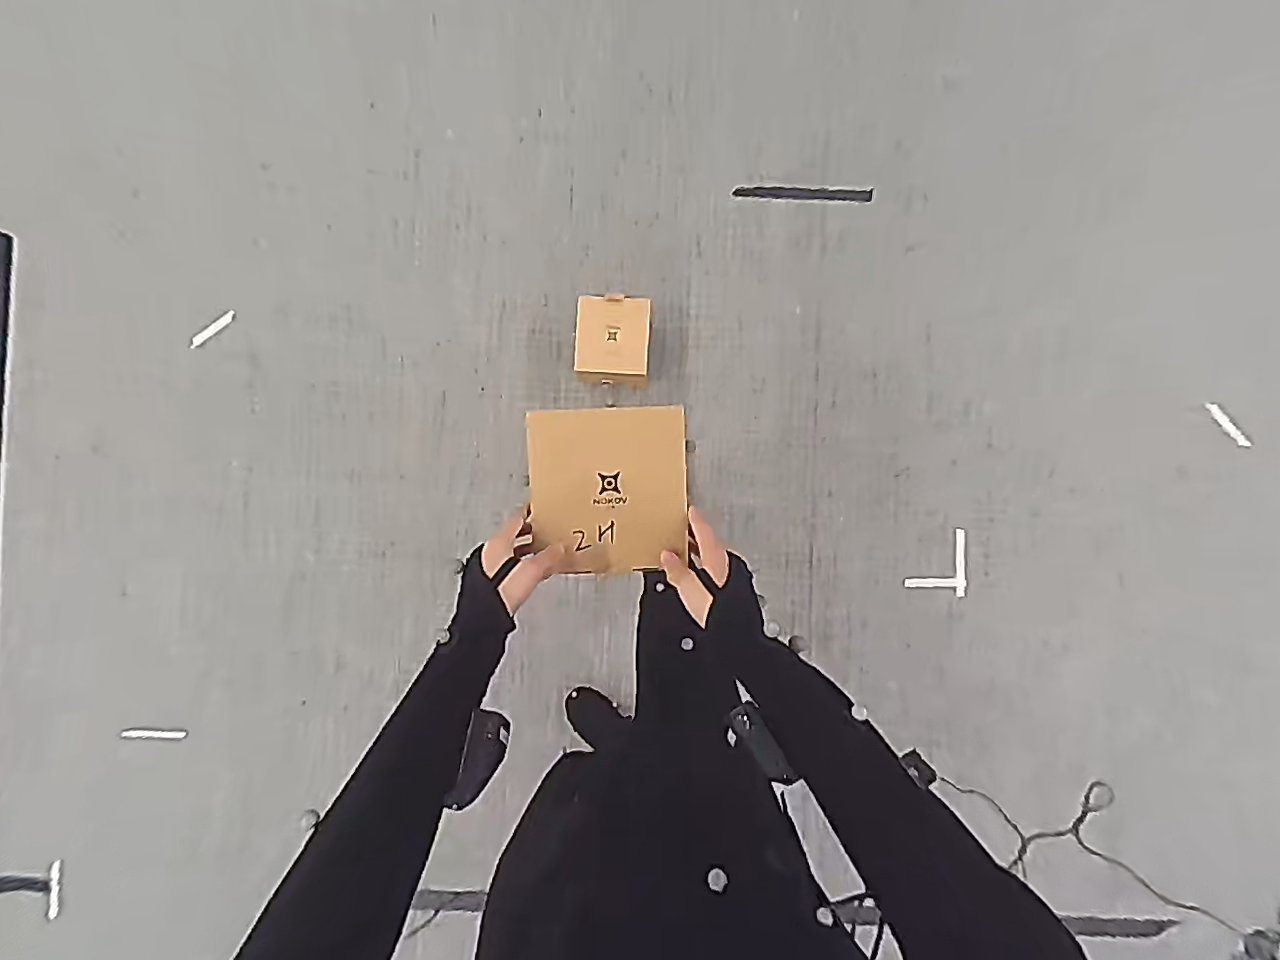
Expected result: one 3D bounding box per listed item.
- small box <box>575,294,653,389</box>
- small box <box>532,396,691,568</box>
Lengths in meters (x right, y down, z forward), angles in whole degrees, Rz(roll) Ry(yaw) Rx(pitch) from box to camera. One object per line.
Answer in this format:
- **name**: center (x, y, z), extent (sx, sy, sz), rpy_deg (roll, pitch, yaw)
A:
- **small box**: center (-0.058, -0.321, 1.276), extent (0.168, 0.176, 0.179), rpy_deg (4, 90, 0)
- **small box**: center (-0.034, -0.004, 0.639), extent (0.168, 0.176, 0.179), rpy_deg (-2, 96, -3)
